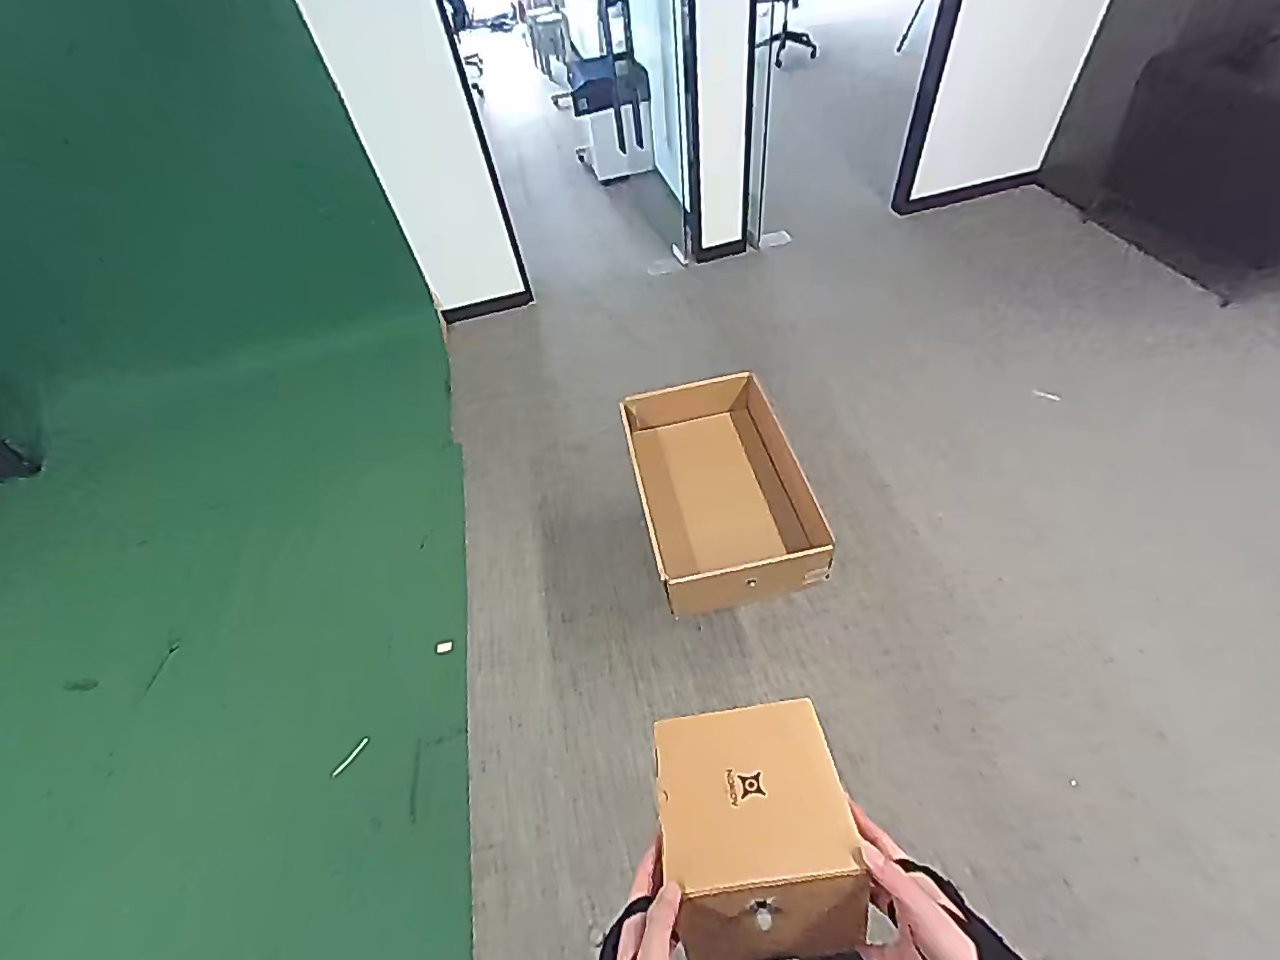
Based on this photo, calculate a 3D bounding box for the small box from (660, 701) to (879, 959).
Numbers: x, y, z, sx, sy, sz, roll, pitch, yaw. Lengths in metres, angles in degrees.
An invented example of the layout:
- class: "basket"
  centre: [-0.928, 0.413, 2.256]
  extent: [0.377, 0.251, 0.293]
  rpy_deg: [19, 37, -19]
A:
- class: "small box"
  centre: [0.124, 0.360, 0.556]
  extent: [0.179, 0.176, 0.168]
  rpy_deg: [-11, 31, 4]
